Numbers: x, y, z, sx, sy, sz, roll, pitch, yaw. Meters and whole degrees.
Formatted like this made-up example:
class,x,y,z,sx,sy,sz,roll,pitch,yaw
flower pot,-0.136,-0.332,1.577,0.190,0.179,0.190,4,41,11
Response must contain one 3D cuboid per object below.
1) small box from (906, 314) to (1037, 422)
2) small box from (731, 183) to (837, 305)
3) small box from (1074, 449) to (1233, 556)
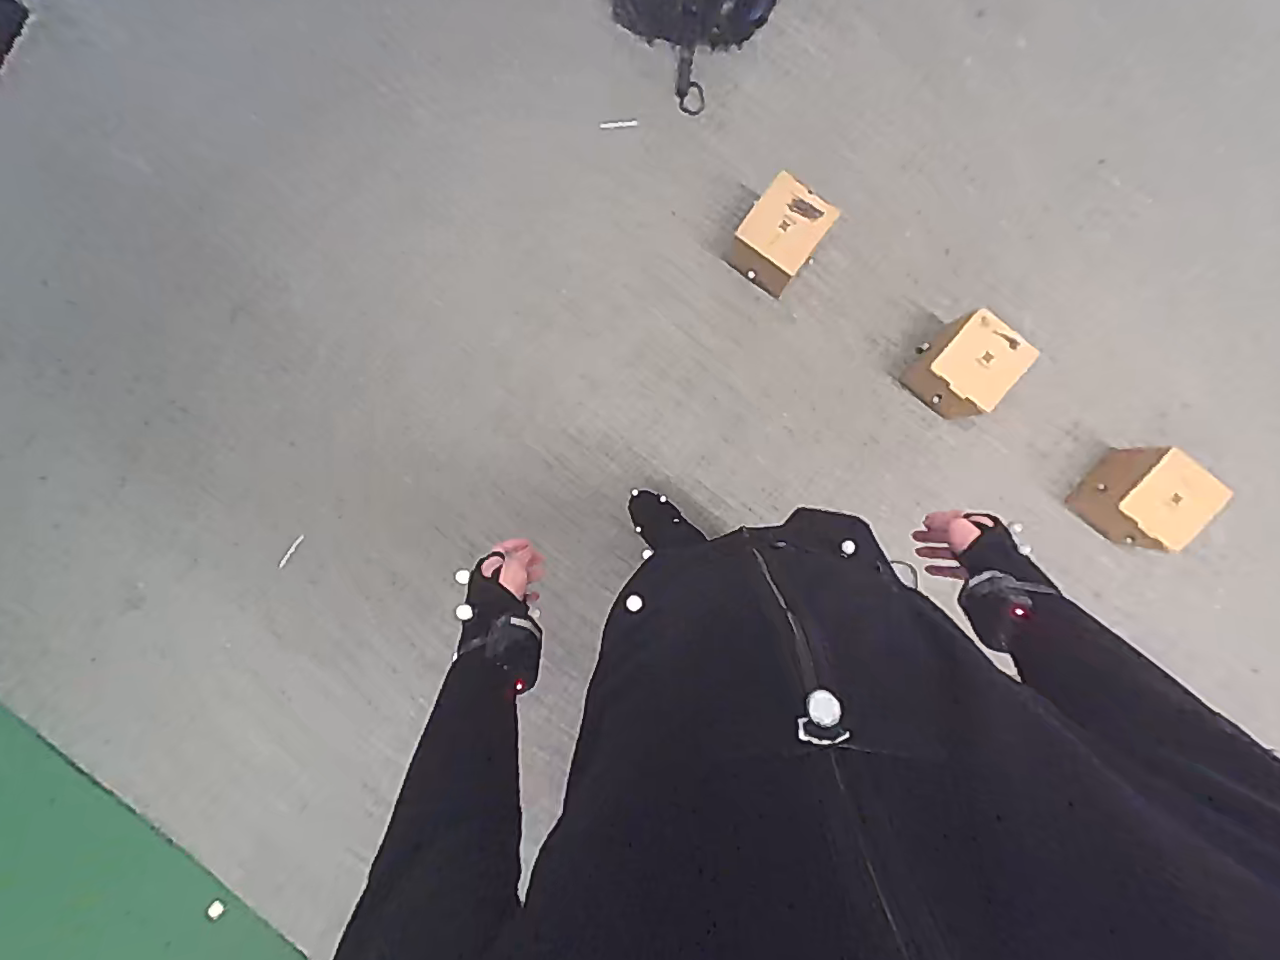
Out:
class,x,y,z,sx,sy,sz,roll,pitch,yaw
small box,0.759,-0.251,1.268,0.168,0.176,0.179,39,95,3
small box,0.332,-0.553,1.292,0.168,0.176,0.179,37,95,3
small box,1.160,0.047,1.244,0.168,0.176,0.179,39,93,2
